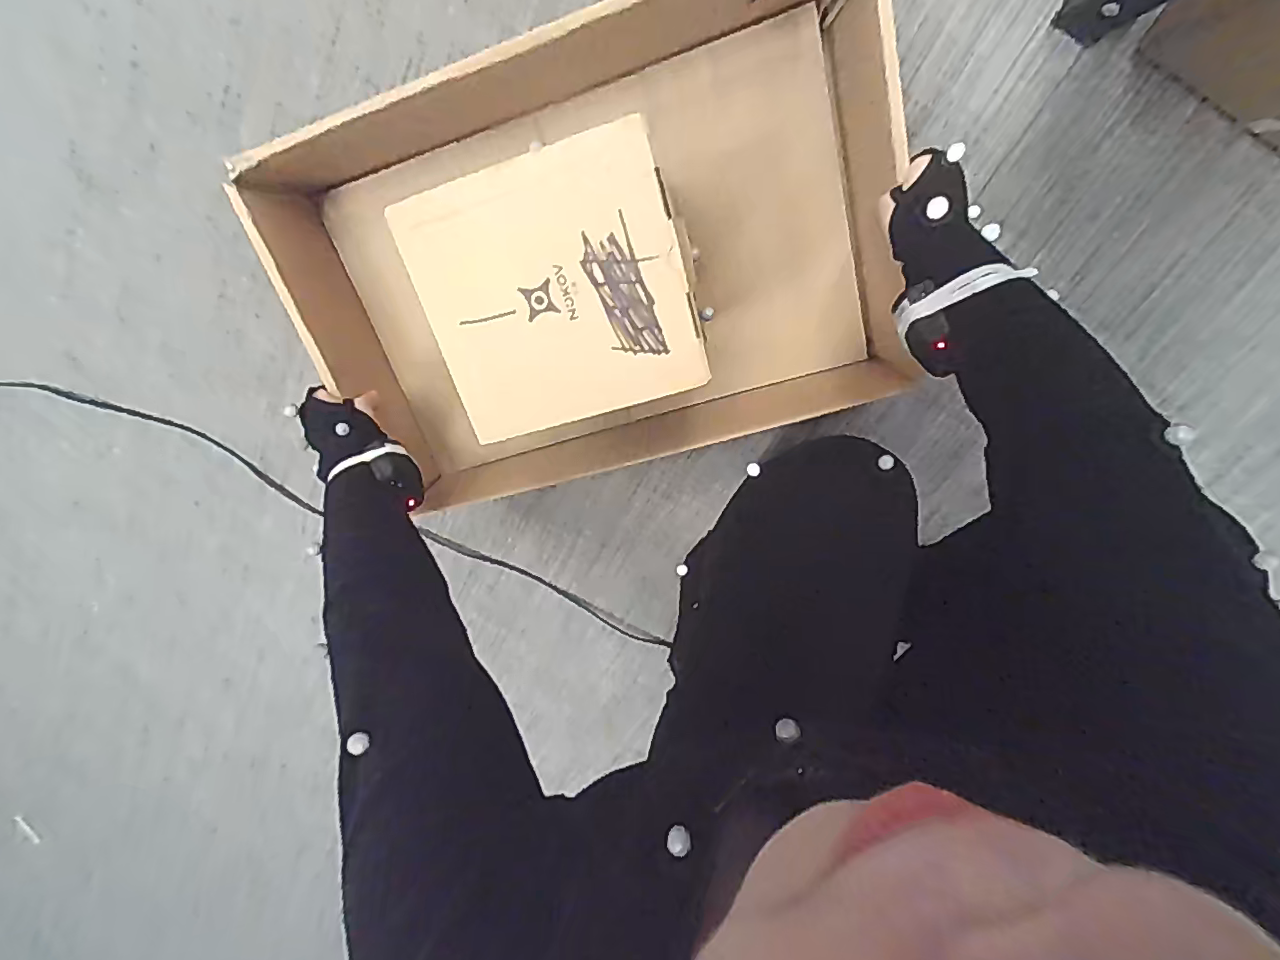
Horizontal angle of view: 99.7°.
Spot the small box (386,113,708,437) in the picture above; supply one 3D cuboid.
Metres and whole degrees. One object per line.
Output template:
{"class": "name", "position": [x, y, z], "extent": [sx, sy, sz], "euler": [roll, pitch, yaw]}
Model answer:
{"class": "small box", "position": [-0.051, -0.154, 0.426], "extent": [0.179, 0.176, 0.168], "euler": [-13, 111, 11]}
